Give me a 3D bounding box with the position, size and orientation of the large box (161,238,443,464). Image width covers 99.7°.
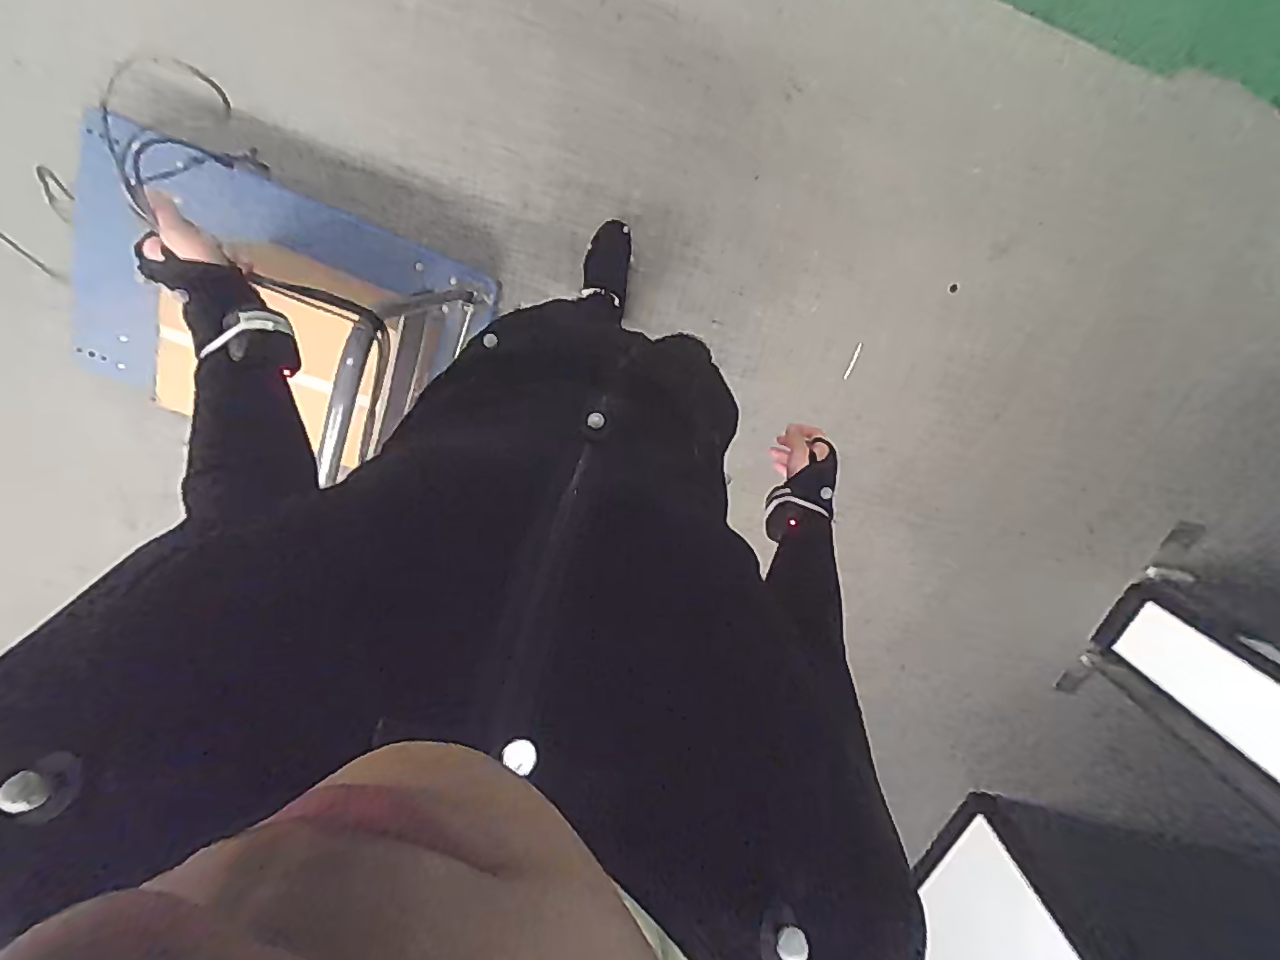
[{"bbox_3d":[-0.692,-0.284,1.161,0.408,0.320,0.320,20,111,-12],"label":"large box"}]
